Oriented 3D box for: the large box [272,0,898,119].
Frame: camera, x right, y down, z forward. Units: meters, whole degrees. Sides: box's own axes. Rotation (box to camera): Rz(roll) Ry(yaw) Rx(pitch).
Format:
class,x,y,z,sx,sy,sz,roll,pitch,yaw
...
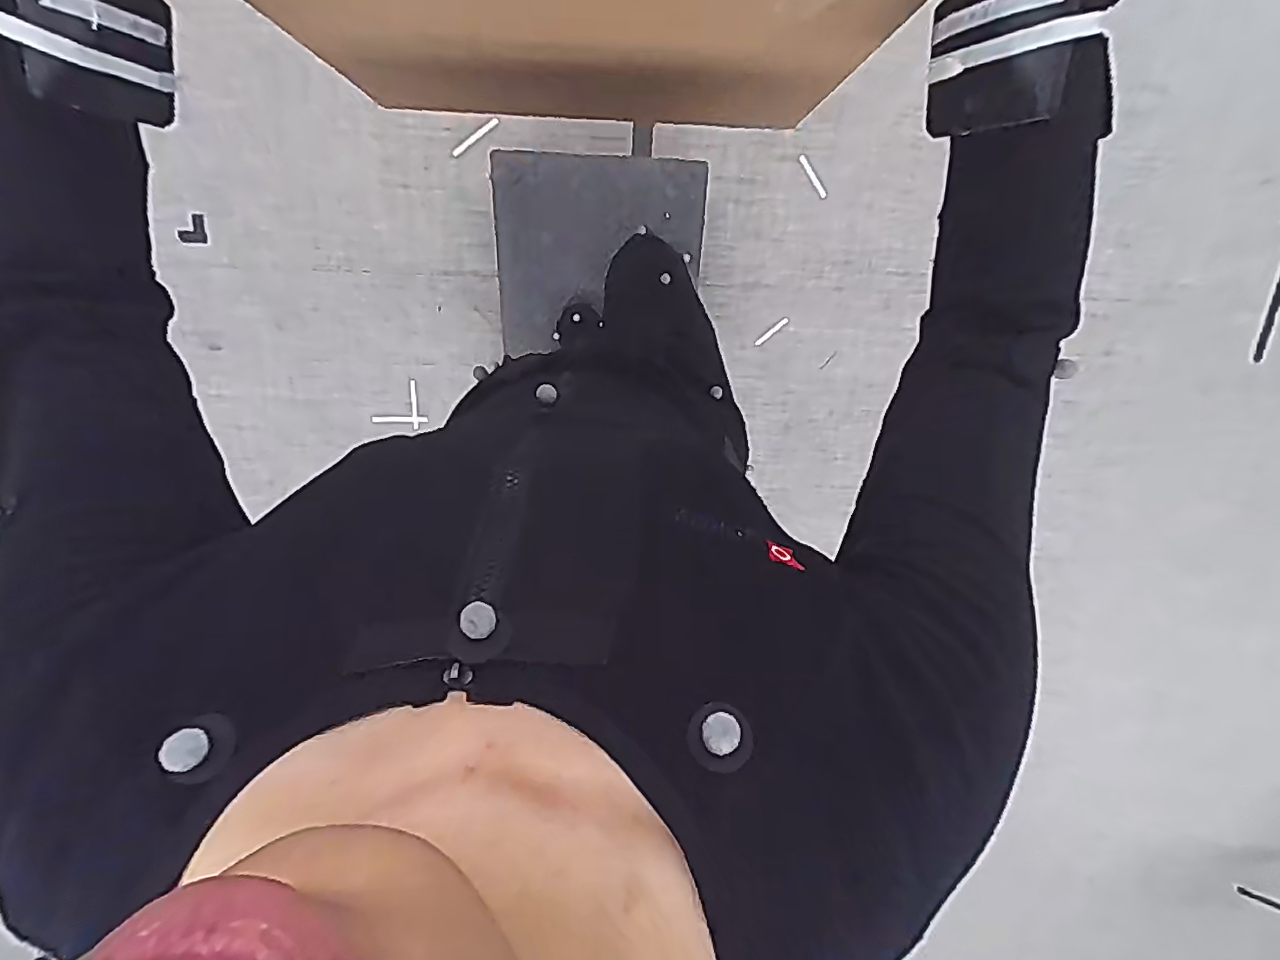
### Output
class,x,y,z,sx,sy,sz,roll,pitch,yaw
large box,-0.038,-0.456,0.343,0.408,0.320,0.320,1,109,-3
